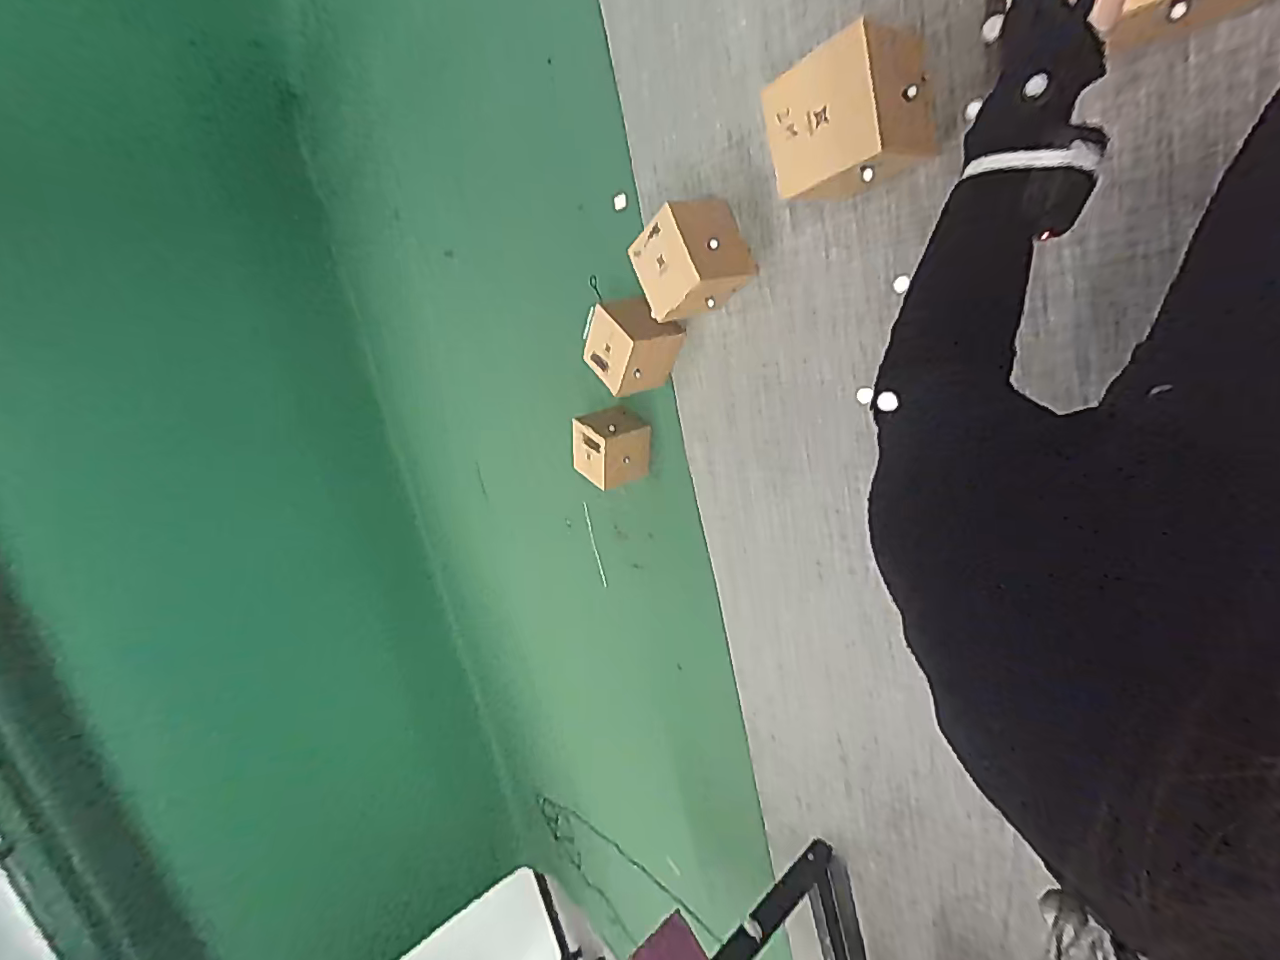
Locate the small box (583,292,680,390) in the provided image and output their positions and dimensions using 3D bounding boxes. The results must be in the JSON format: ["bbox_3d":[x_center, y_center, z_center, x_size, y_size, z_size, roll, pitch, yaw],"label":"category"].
[{"bbox_3d":[-0.022,-0.363,1.401,0.168,0.176,0.179,52,142,24],"label":"small box"}]

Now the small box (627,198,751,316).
[{"bbox_3d":[0.108,-0.479,1.157,0.168,0.176,0.179,-26,87,56],"label":"small box"}]

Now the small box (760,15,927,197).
[{"bbox_3d":[0.316,-0.553,0.825,0.179,0.176,0.168,2,109,53],"label":"small box"}]

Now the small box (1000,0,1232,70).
[{"bbox_3d":[0.506,-0.563,0.561,0.179,0.176,0.168,10,116,50],"label":"small box"}]
